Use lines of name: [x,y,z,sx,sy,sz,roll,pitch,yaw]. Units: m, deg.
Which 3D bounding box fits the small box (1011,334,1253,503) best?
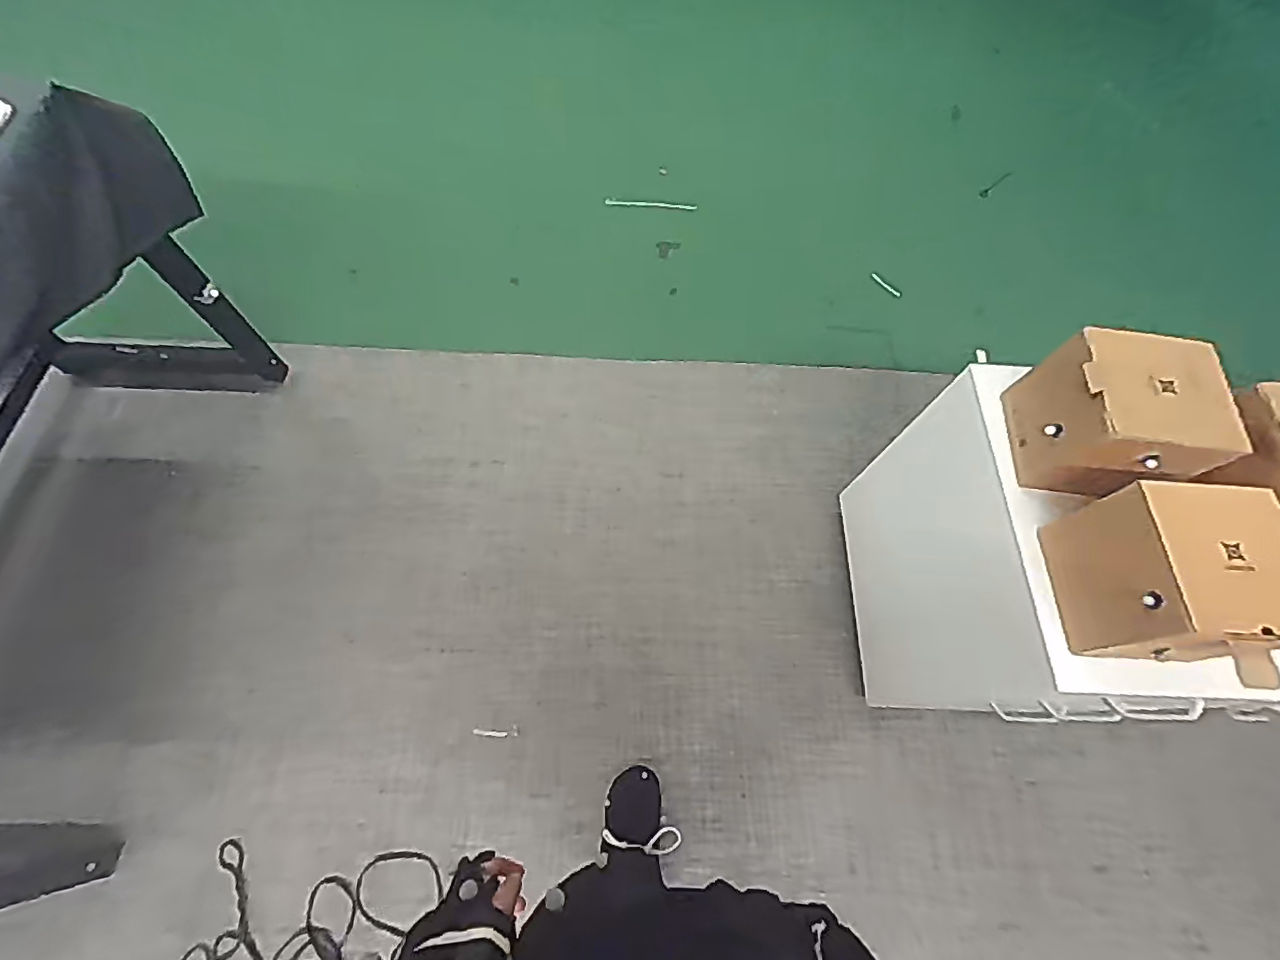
small box: [0.657,-0.077,0.755,0.179,0.176,0.168,7,66,-1]
